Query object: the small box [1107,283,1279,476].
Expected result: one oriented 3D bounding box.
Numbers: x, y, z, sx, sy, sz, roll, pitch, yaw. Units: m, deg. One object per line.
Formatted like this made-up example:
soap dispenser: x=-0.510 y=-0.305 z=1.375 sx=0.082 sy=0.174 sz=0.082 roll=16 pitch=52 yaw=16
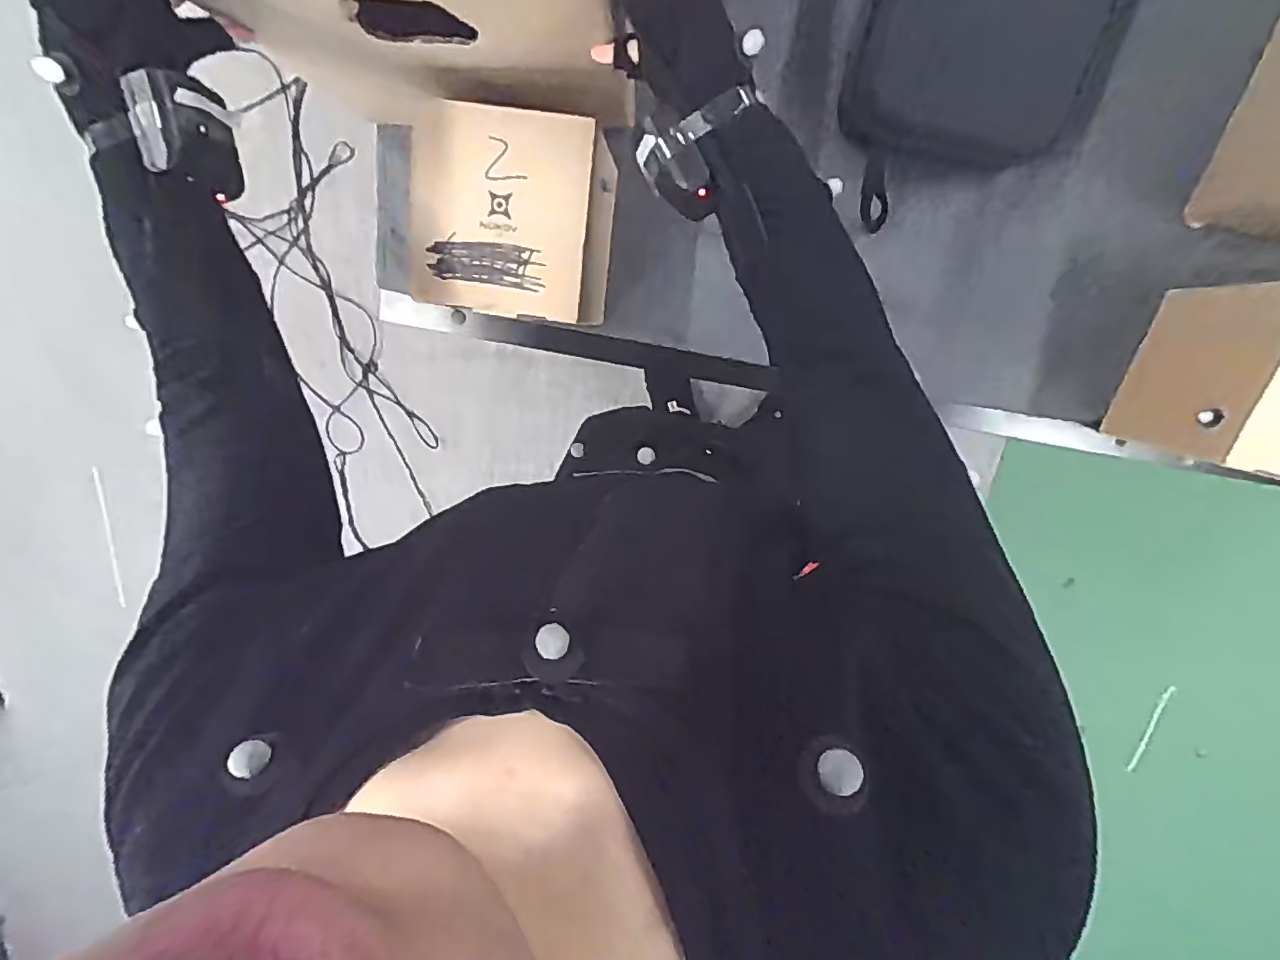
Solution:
small box: x=0.655 y=-0.103 z=0.566 sx=0.168 sy=0.176 sz=0.179 roll=13 pitch=108 yaw=1
